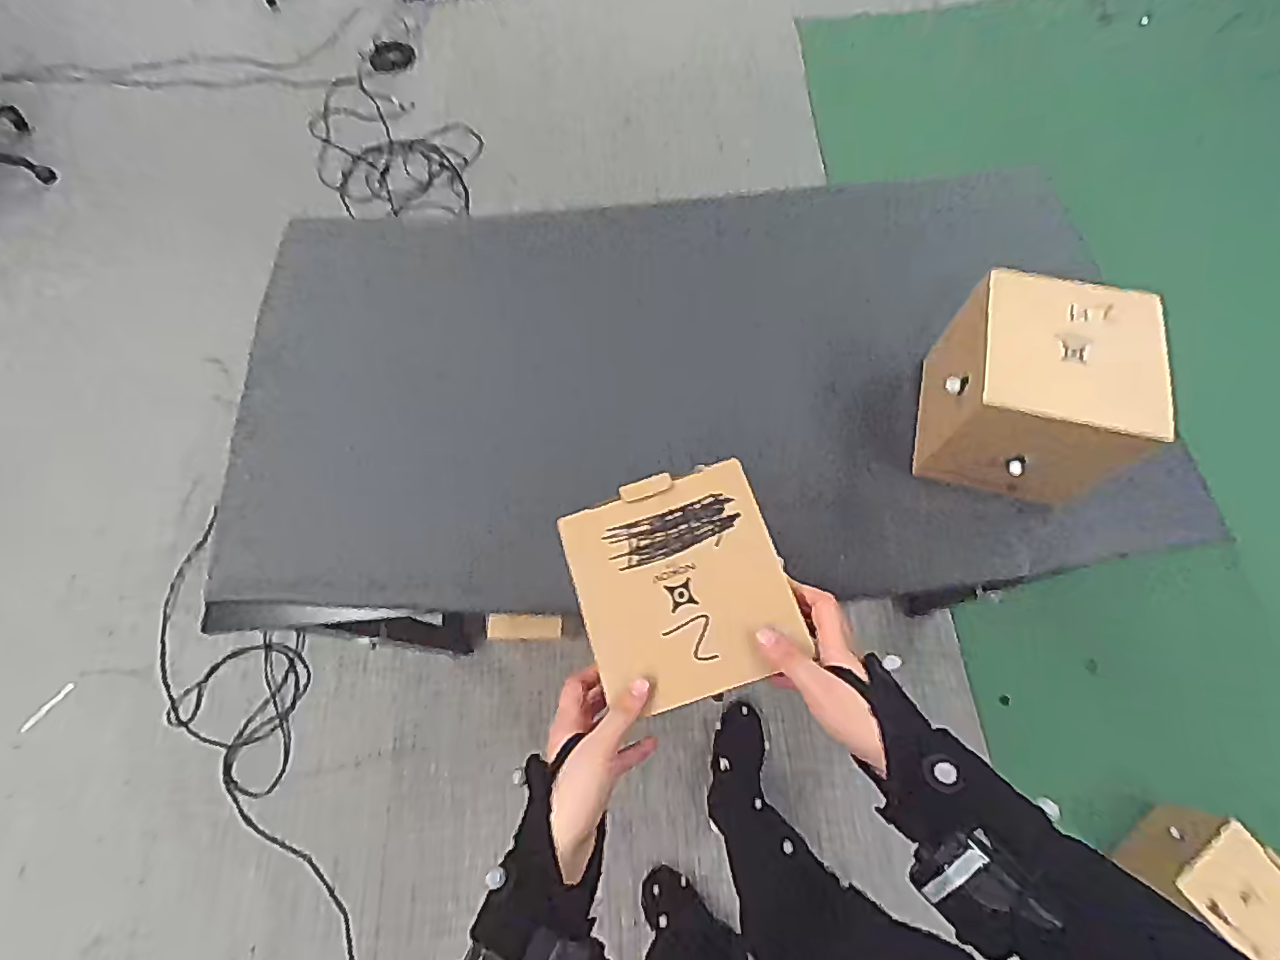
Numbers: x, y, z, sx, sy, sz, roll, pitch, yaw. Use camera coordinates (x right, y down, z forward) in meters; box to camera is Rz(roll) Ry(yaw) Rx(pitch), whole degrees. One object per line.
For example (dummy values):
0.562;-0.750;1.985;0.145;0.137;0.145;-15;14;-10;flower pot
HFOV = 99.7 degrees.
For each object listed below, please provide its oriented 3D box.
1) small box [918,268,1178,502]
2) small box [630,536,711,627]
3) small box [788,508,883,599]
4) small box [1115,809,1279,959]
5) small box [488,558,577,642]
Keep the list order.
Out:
0.427;-0.094;0.594;0.168;0.176;0.179;14;68;9;small box
0.071;0.246;1.271;0.168;0.176;0.179;-7;68;0;small box
0.454;0.179;1.273;0.179;0.176;0.168;7;70;5;small box
1.063;0.755;1.012;0.179;0.176;0.168;-35;71;-11;small box
-0.244;0.287;1.277;0.168;0.176;0.179;-1;68;3;small box
